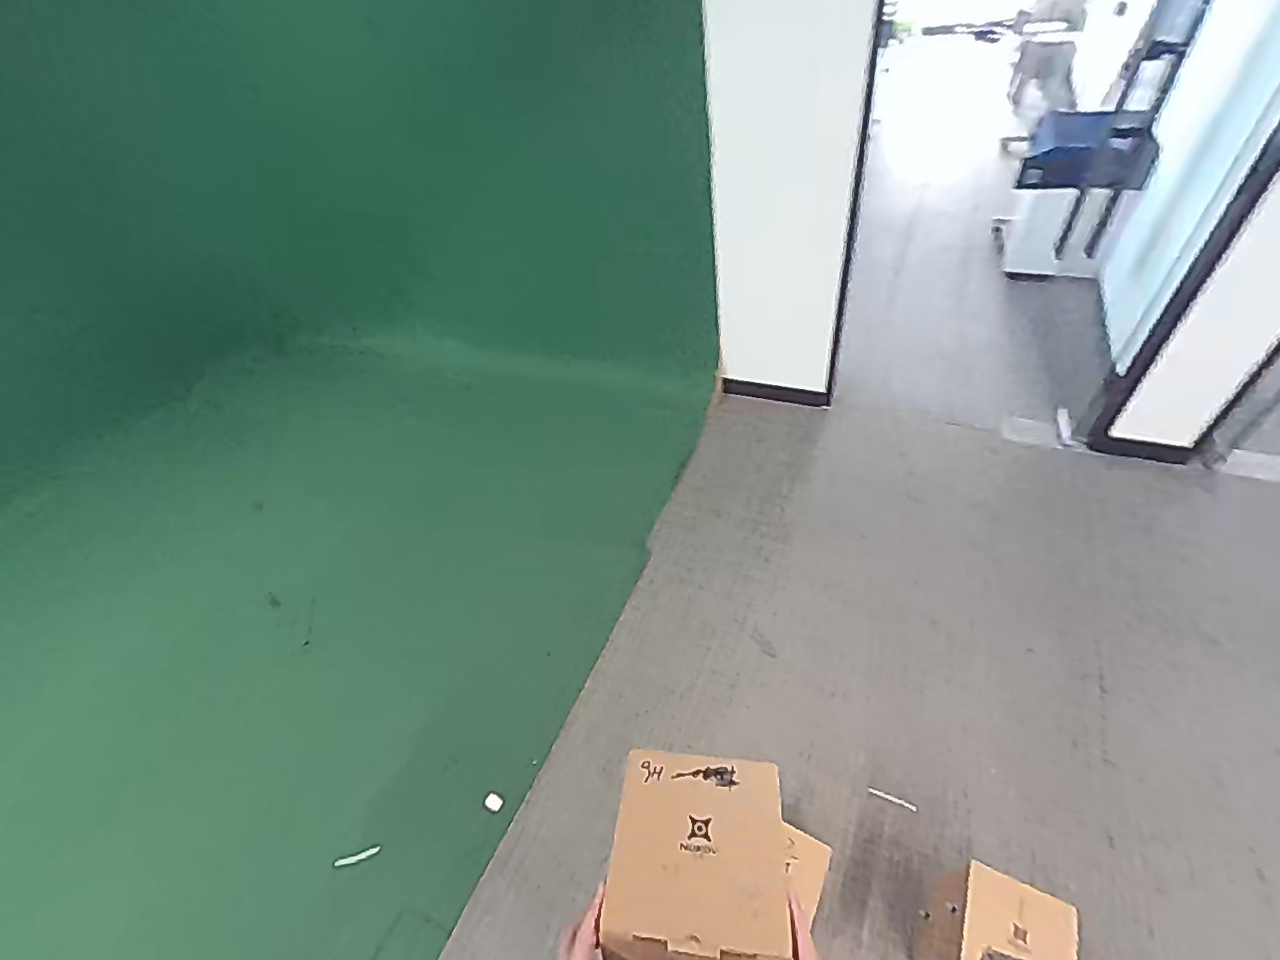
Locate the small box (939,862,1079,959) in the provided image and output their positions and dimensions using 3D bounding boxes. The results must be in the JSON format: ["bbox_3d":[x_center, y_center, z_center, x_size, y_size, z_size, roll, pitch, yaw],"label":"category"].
[{"bbox_3d":[0.652,0.835,0.968,0.168,0.176,0.179,16,51,25],"label":"small box"}]

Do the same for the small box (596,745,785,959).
[{"bbox_3d":[0.057,0.415,0.568,0.168,0.176,0.179,2,30,8],"label":"small box"}]
